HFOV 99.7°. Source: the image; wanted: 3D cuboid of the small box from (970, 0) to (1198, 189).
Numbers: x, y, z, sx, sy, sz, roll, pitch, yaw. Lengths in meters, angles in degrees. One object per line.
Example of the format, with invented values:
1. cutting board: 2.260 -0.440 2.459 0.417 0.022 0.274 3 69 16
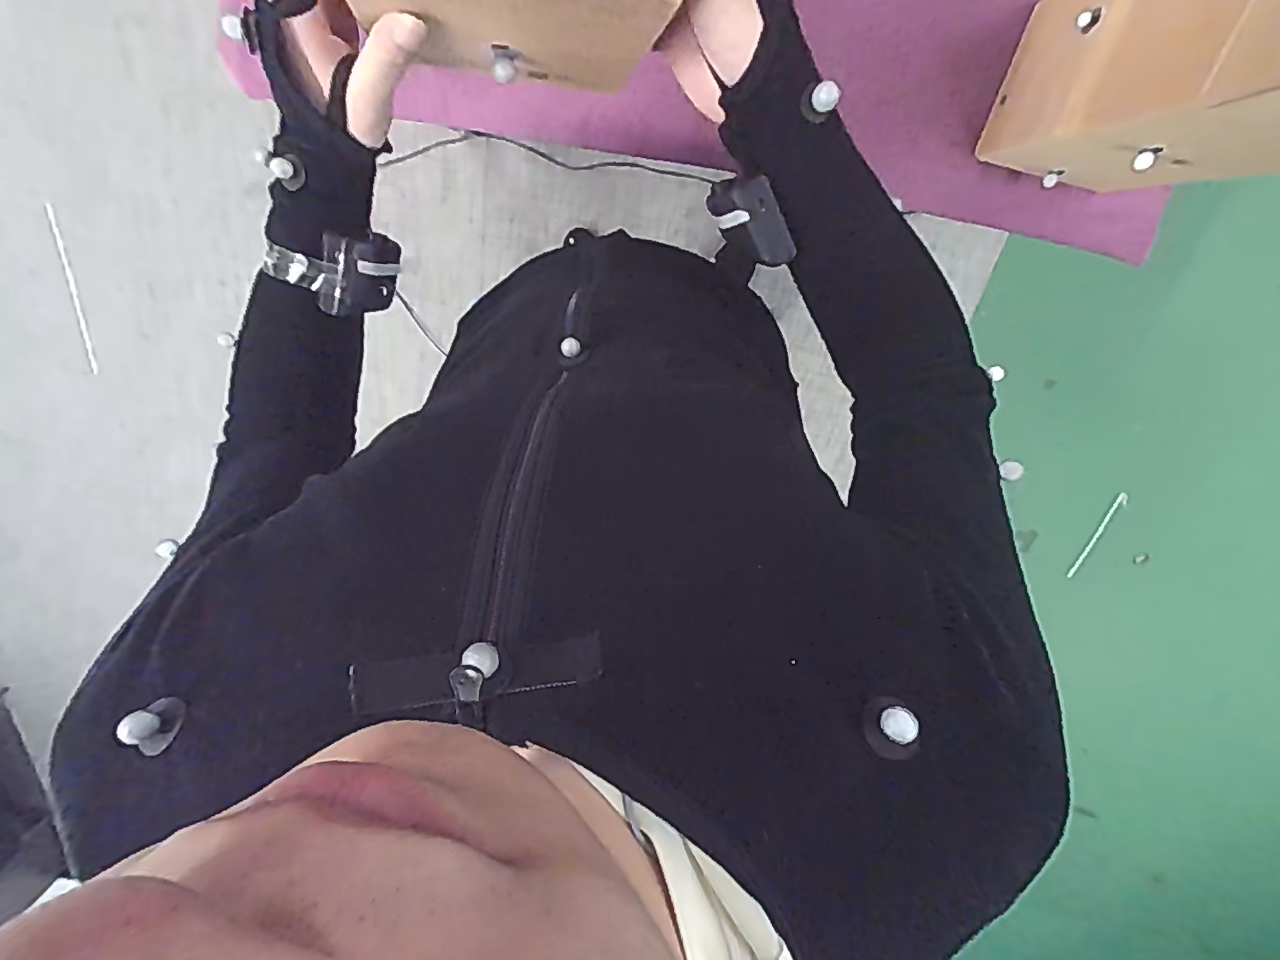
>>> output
1. small box: 0.516 -0.431 0.593 0.179 0.176 0.168 13 114 -3

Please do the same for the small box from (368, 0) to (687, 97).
1. small box: -0.068 -0.335 0.281 0.168 0.176 0.179 -1 112 -13
